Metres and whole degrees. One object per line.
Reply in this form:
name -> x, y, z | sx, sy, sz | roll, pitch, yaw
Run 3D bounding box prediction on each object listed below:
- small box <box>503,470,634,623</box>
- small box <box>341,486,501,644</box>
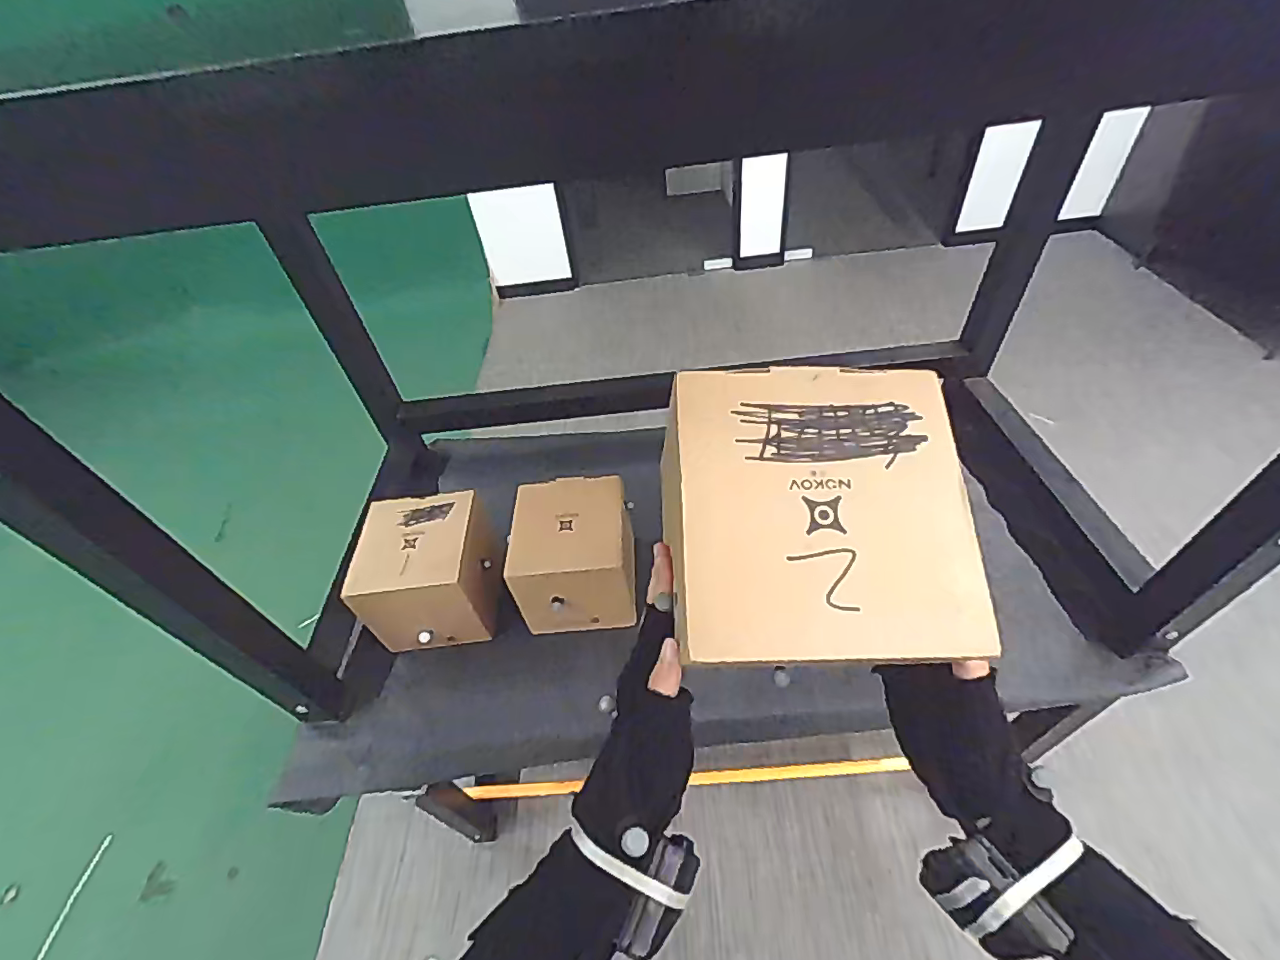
small box -> -0.100, 0.110, 0.845 | 0.168, 0.176, 0.179 | -5, 45, 3
small box -> -0.326, 0.134, 0.850 | 0.168, 0.176, 0.179 | -7, 46, 1
